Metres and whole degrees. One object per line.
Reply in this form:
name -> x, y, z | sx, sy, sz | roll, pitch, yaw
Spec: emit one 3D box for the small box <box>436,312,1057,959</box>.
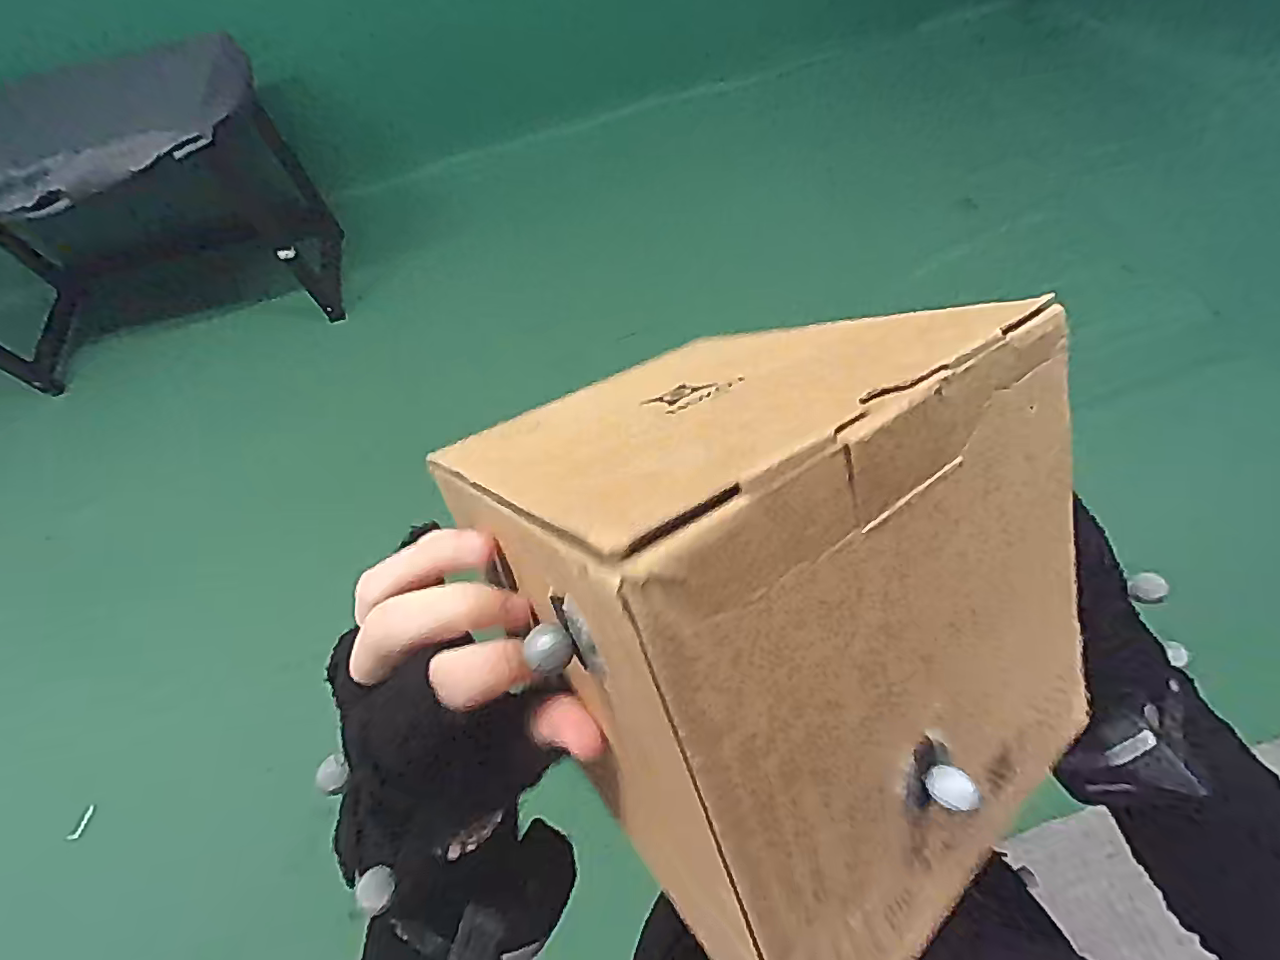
small box -> 0.040, 0.041, 0.232 | 0.168, 0.176, 0.179 | -29, 25, -24
